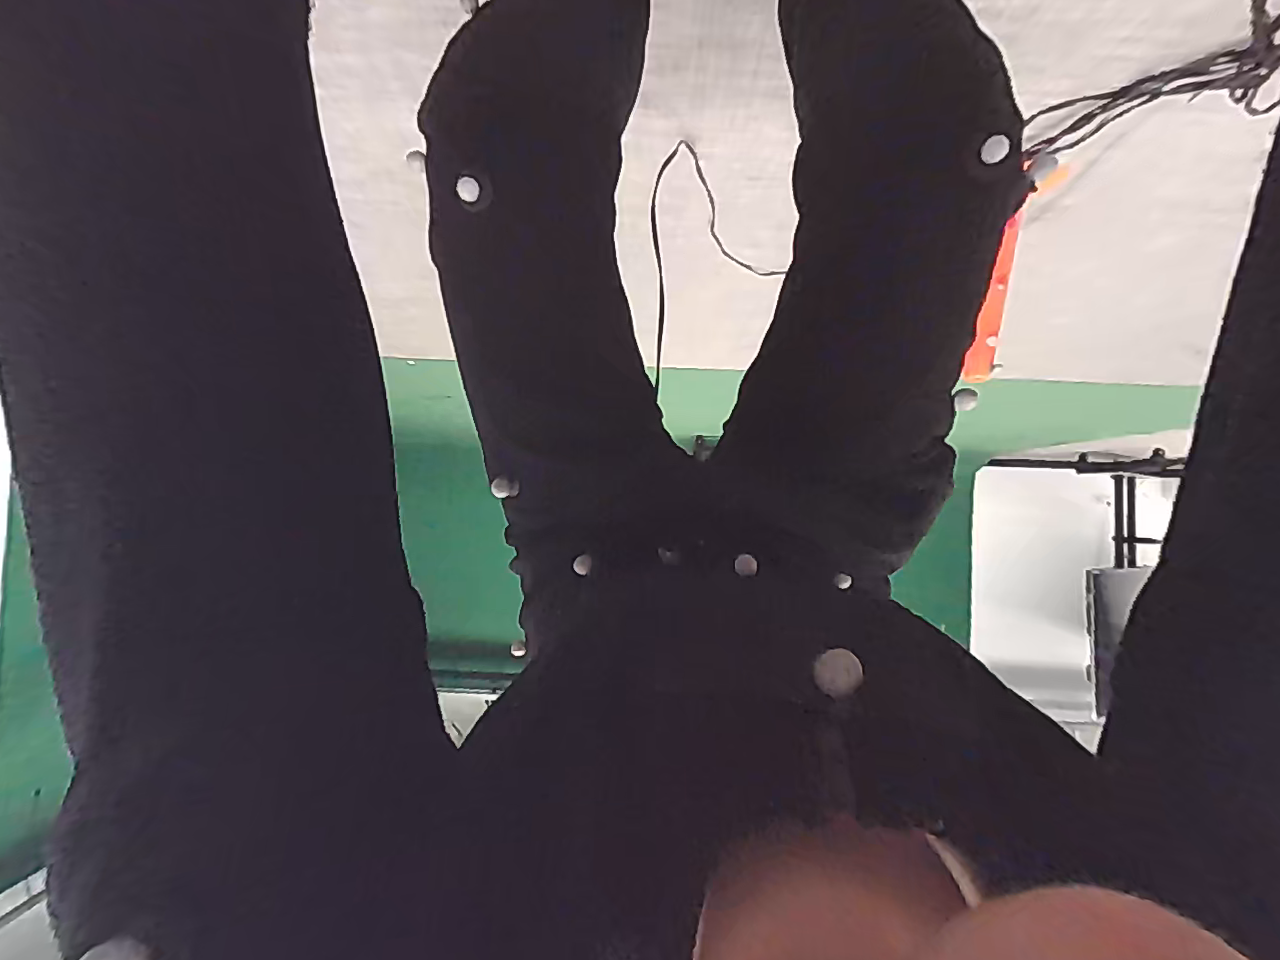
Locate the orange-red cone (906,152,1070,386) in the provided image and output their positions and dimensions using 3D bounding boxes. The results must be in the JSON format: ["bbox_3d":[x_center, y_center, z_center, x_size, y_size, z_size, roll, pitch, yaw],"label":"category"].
[{"bbox_3d":[0.617,-0.349,0.970,0.199,0.360,0.198,2,178,-18],"label":"orange-red cone"}]
